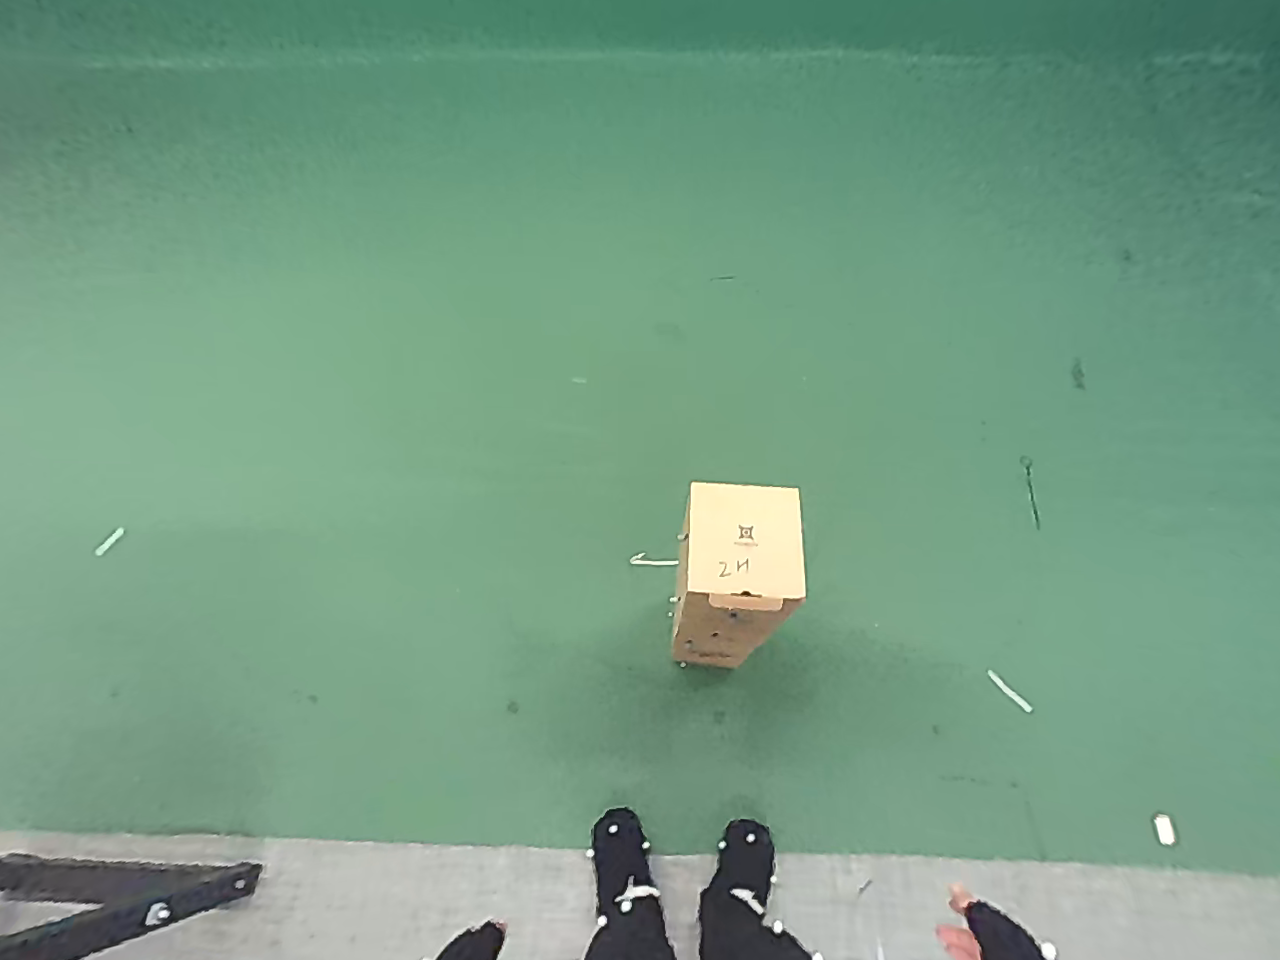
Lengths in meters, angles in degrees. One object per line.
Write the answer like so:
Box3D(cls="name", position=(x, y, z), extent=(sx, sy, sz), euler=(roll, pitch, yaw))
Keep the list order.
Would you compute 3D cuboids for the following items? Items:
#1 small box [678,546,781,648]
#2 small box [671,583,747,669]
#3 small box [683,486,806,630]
Box3D(cls="small box", position=(0.159, 0.204, 1.005), extent=(0.168, 0.176, 0.179), euler=(3, 63, 2))
Box3D(cls="small box", position=(0.162, 0.354, 1.296), extent=(0.168, 0.176, 0.179), euler=(2, 65, 2))
Box3D(cls="small box", position=(0.157, 0.128, 0.859), extent=(0.168, 0.176, 0.179), euler=(4, 63, 3))
